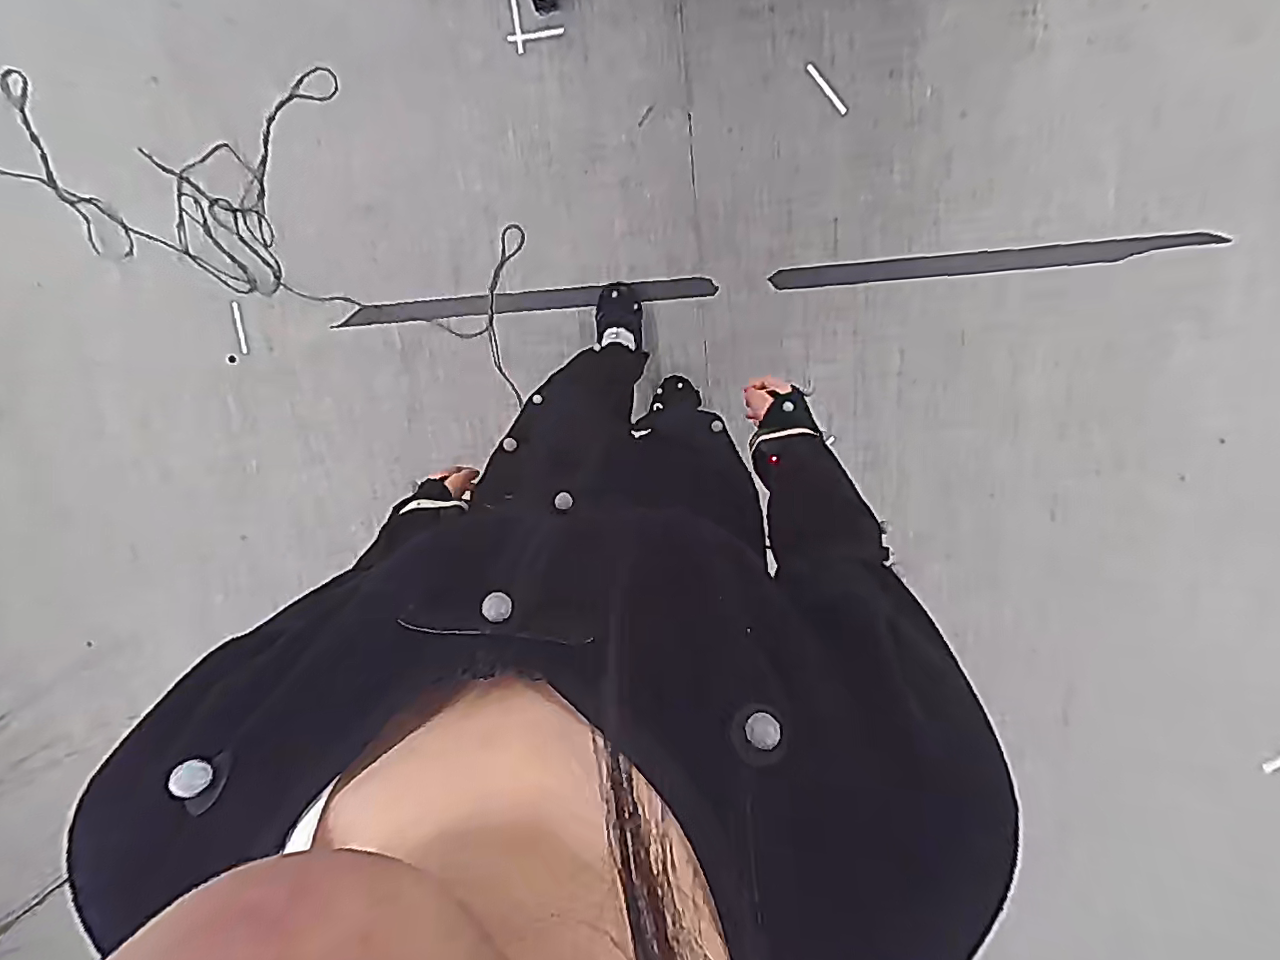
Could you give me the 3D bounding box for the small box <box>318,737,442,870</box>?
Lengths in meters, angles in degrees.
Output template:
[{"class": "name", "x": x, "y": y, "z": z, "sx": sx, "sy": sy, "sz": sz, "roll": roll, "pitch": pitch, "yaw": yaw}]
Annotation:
[{"class": "small box", "x": -0.613, "y": 0.770, "z": 1.301, "sx": 0.168, "sy": 0.176, "sz": 0.179, "roll": 43, "pitch": 101, "yaw": -5}]
